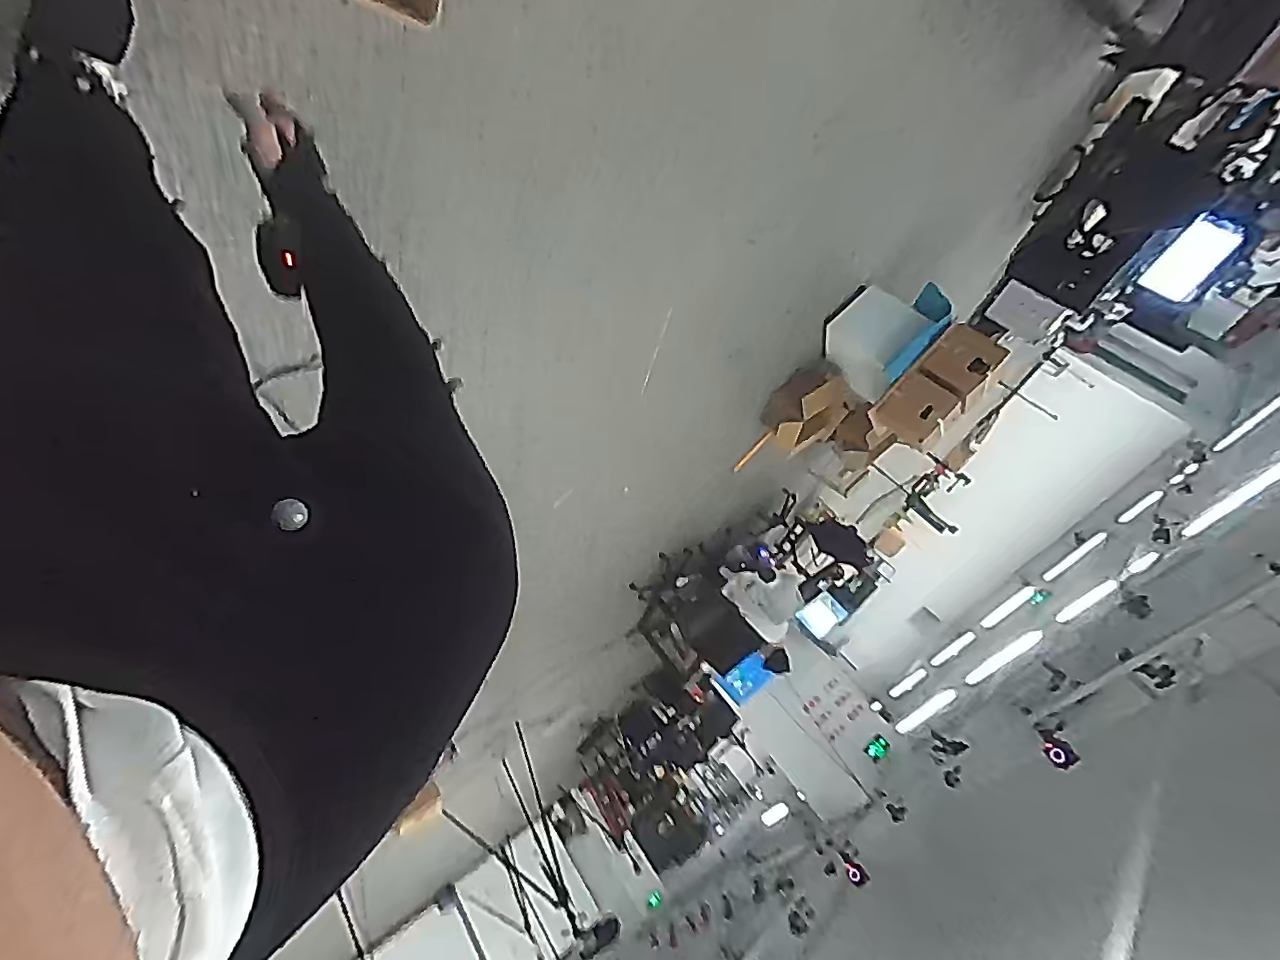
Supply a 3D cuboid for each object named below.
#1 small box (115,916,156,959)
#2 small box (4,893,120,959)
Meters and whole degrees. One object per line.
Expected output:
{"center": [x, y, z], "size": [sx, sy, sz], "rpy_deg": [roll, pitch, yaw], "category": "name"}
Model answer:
{"center": [-1.578, 1.454, 1.614], "size": [0.168, 0.176, 0.179], "rpy_deg": [-22, 147, -38], "category": "small box"}
{"center": [-1.471, 1.207, 1.382], "size": [0.168, 0.176, 0.179], "rpy_deg": [-19, 146, -39], "category": "small box"}
